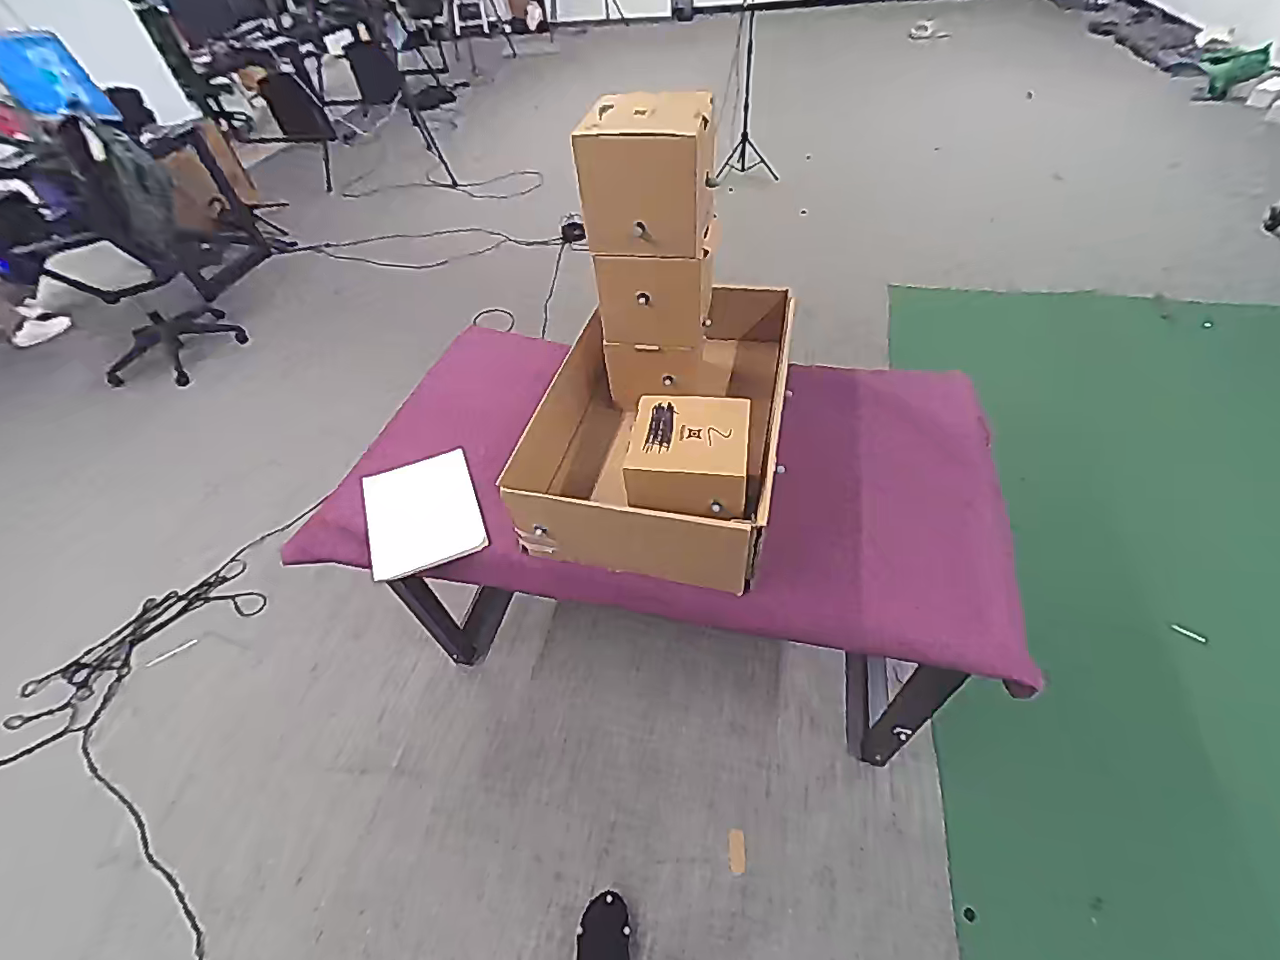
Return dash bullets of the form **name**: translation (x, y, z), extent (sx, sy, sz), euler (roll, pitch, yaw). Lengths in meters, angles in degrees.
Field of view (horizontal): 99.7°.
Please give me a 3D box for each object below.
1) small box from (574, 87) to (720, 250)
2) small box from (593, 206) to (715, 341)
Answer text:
- **small box**: translation (0.018, -0.468, 0.819), extent (0.179, 0.176, 0.168), euler (9, 51, 11)
- **small box**: translation (0.032, -0.360, 0.942), extent (0.179, 0.176, 0.168), euler (6, 51, 11)
